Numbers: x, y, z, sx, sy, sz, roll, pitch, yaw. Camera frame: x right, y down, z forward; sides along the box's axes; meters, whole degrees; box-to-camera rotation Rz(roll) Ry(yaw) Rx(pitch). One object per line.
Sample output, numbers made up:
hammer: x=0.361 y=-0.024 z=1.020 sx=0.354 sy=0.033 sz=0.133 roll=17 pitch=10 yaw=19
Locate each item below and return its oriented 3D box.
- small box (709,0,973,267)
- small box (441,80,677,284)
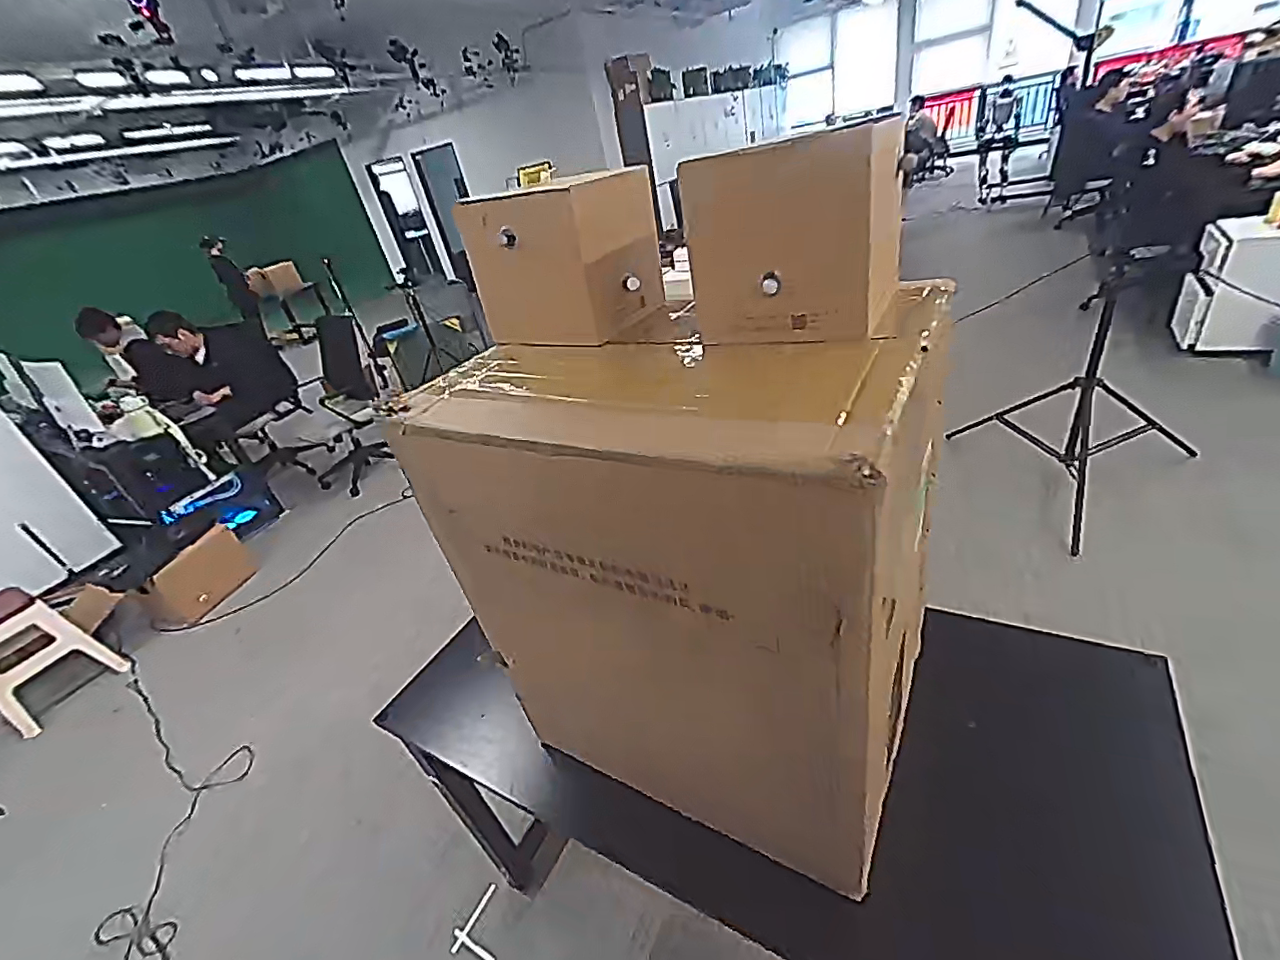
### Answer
small box: x=0.173 y=-0.288 z=0.458 sx=0.168 sy=0.176 sz=0.179 roll=7 pitch=35 yaw=30
small box: x=-0.077 y=-0.320 z=0.595 sx=0.179 sy=0.176 sz=0.168 roll=11 pitch=38 yaw=30
